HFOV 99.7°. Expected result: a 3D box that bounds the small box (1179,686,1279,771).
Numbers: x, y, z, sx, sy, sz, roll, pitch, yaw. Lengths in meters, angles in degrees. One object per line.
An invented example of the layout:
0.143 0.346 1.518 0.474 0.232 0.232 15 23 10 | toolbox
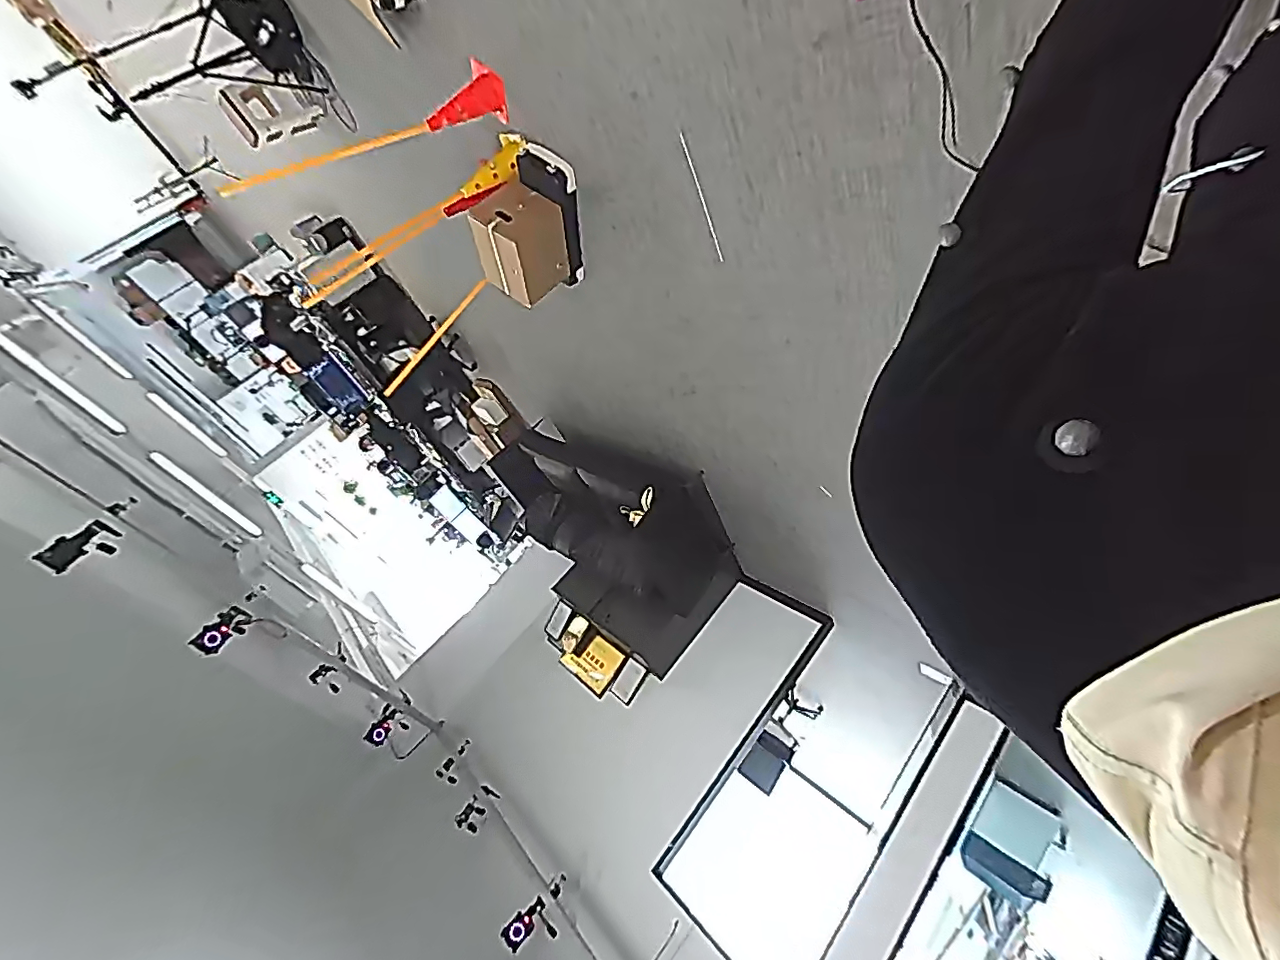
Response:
1.600 0.687 1.440 0.179 0.176 0.168 25 153 45 | small box

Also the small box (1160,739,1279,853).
1.491 0.797 1.385 0.179 0.176 0.168 23 151 47 | small box
